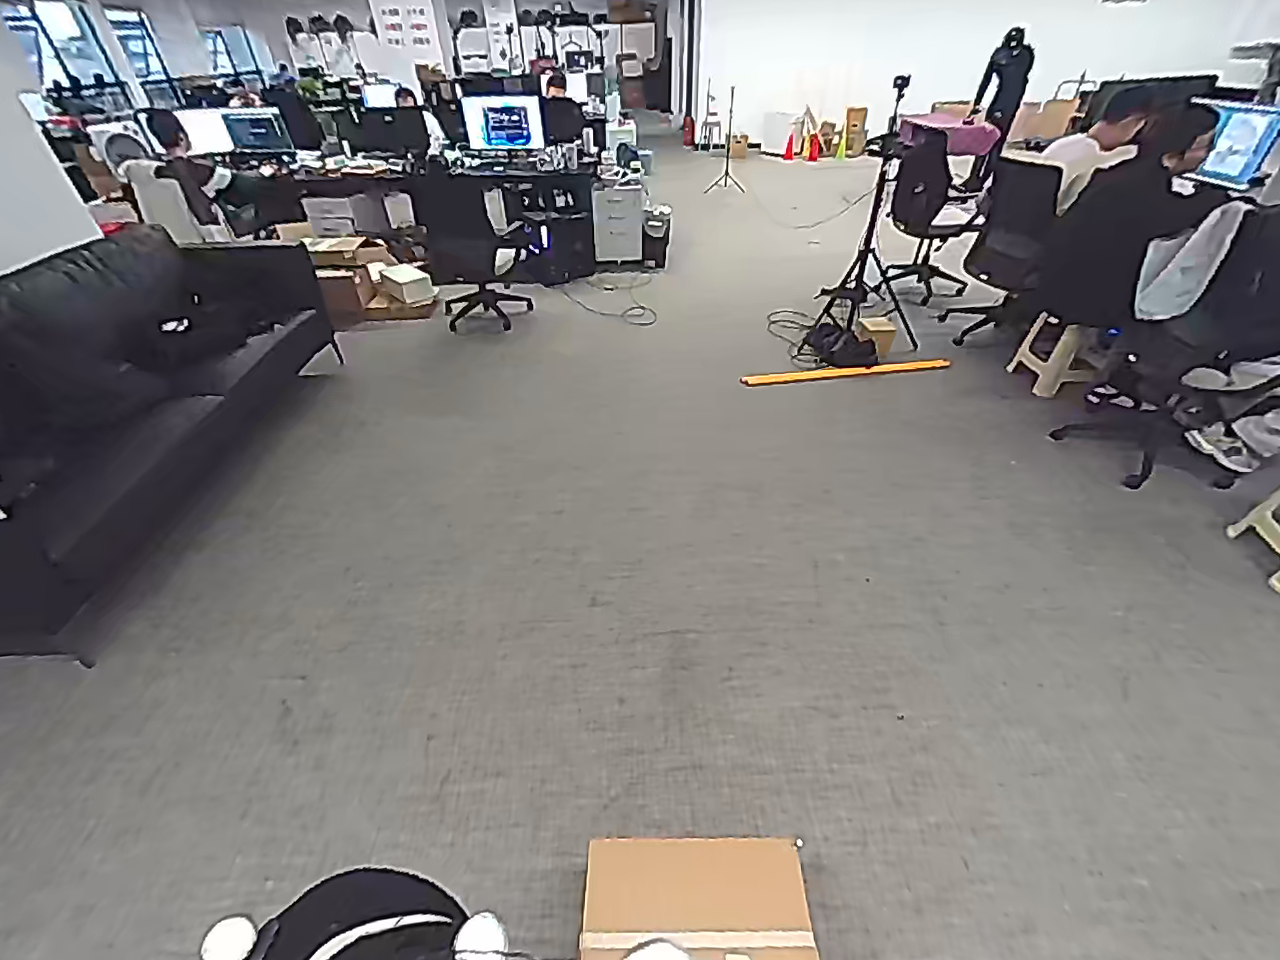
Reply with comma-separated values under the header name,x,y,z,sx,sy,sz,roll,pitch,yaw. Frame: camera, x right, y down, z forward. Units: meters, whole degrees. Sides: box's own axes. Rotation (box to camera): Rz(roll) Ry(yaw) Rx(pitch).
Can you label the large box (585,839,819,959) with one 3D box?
name,x,y,z,sx,sy,sz,roll,pitch,yaw
large box,0.106,0.917,1.025,0.408,0.320,0.320,-1,39,1
